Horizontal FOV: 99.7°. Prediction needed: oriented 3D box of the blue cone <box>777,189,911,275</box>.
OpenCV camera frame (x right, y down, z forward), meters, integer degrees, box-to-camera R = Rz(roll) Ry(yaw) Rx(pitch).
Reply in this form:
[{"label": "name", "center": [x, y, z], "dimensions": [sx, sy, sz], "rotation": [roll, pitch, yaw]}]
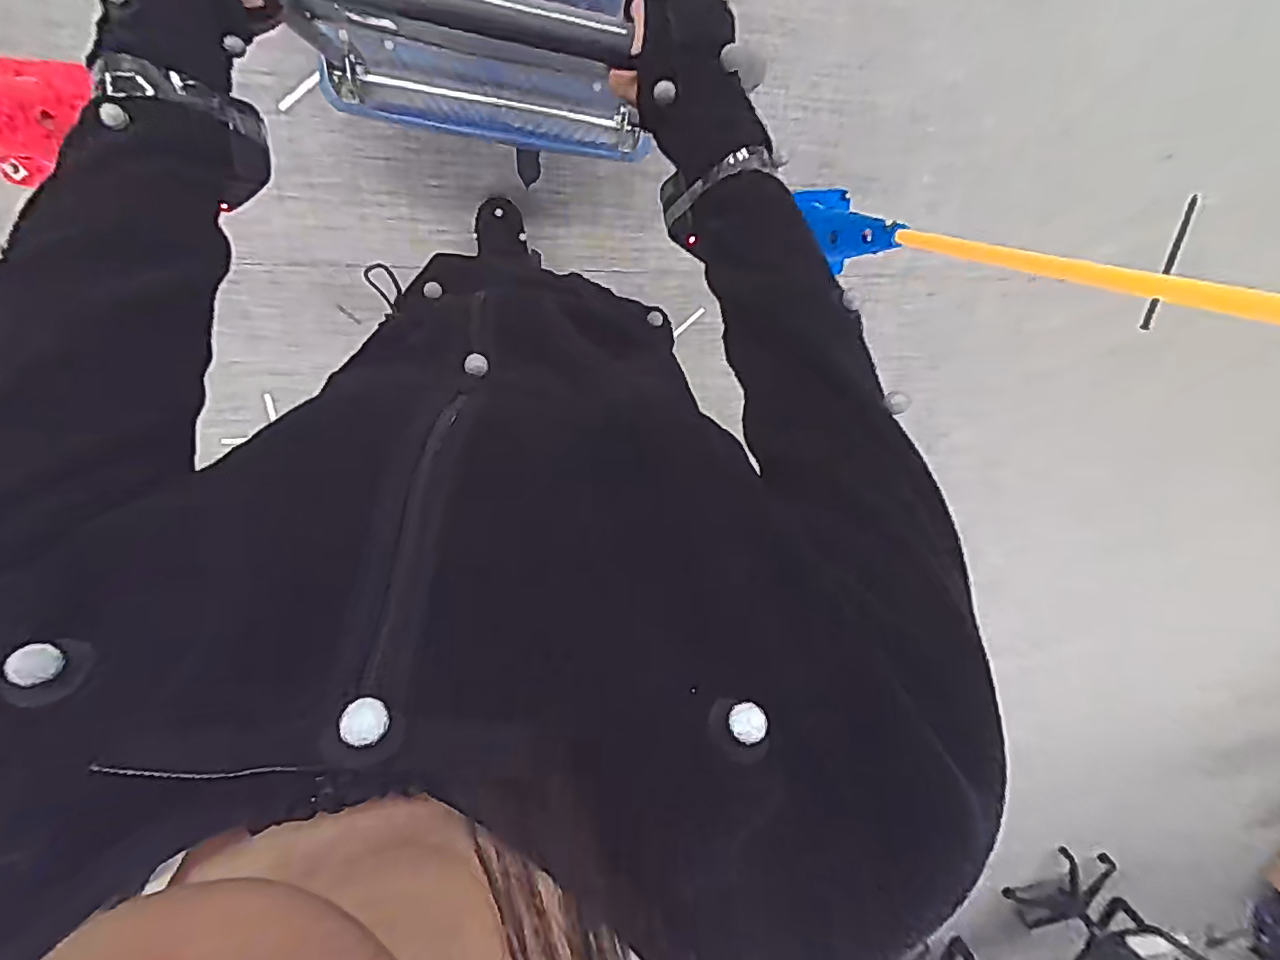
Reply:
[{"label": "blue cone", "center": [0.461, -0.546, 1.190], "dimensions": [0.193, 0.380, 0.192], "rotation": [-6, 114, -10]}]
